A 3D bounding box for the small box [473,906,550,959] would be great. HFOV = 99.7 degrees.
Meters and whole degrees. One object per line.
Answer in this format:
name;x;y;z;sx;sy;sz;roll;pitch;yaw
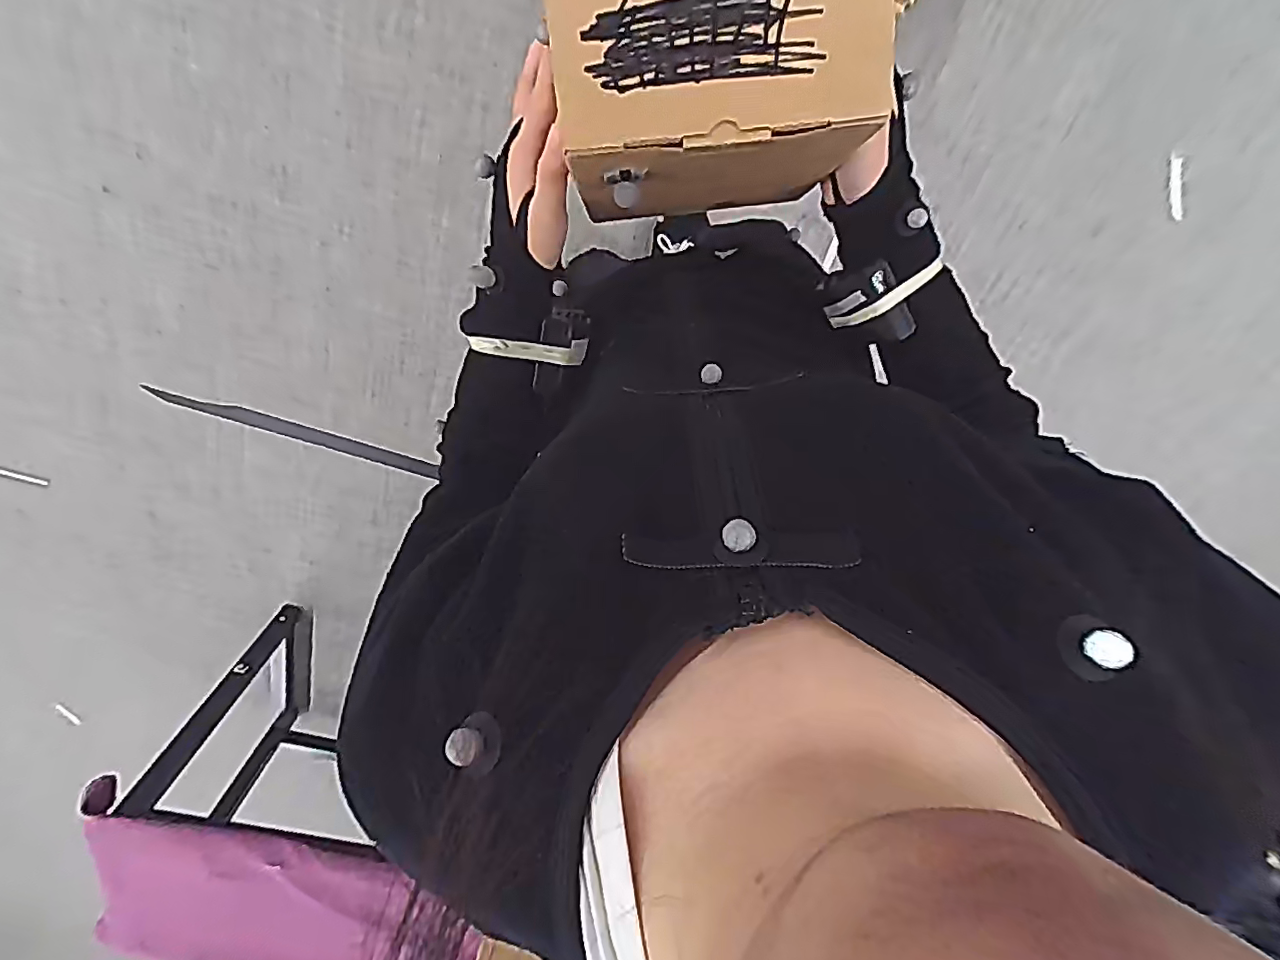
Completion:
small box;-0.321;1.182;1.313;0.168;0.176;0.179;14;118;-9
